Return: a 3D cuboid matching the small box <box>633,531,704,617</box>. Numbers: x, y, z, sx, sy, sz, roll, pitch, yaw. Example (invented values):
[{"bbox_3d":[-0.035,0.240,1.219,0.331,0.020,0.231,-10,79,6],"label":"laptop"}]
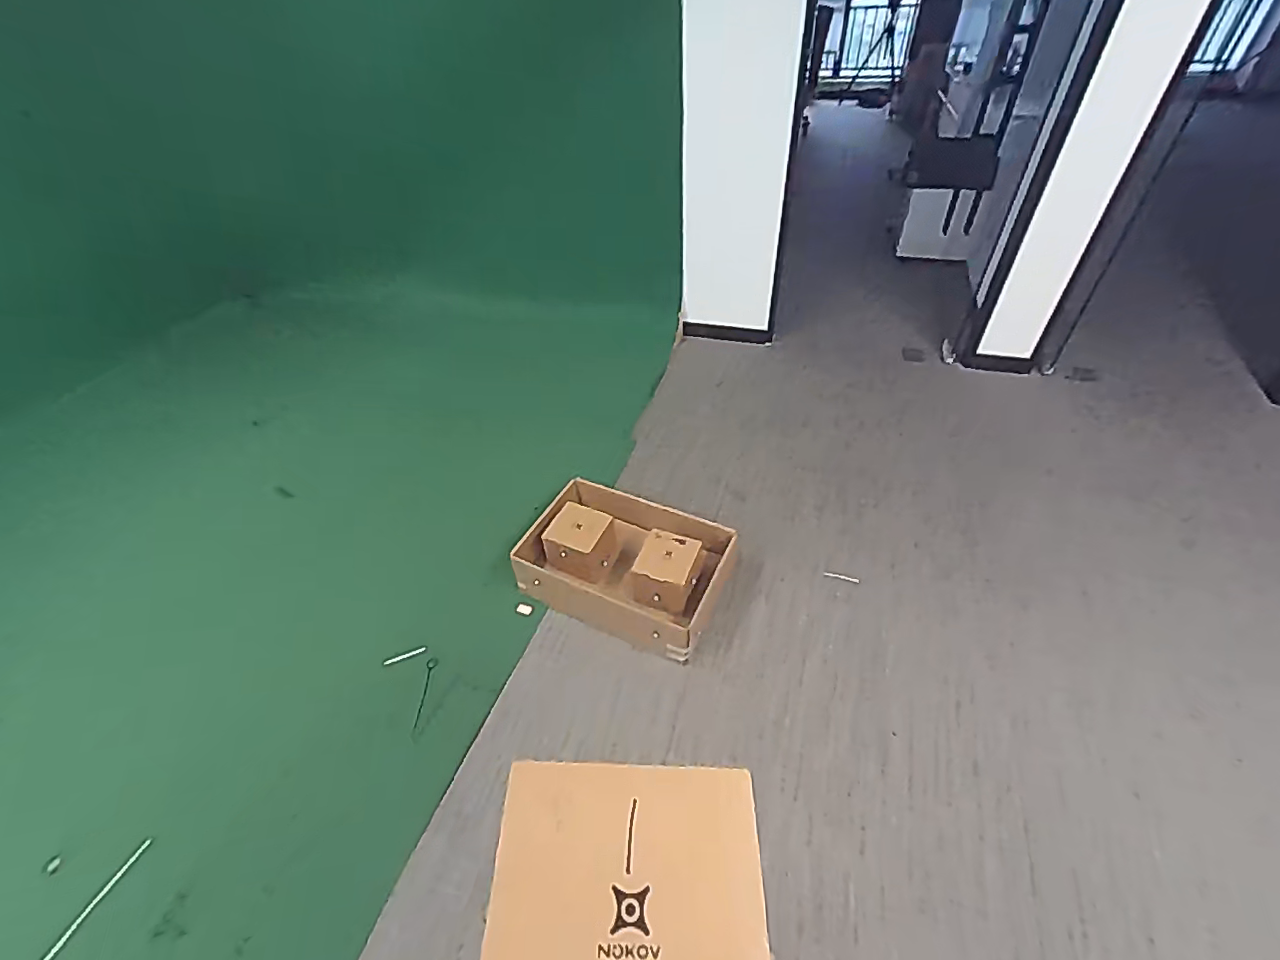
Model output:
[{"bbox_3d":[0.094,0.290,1.659,0.168,0.176,0.179,14,48,19],"label":"small box"}]
